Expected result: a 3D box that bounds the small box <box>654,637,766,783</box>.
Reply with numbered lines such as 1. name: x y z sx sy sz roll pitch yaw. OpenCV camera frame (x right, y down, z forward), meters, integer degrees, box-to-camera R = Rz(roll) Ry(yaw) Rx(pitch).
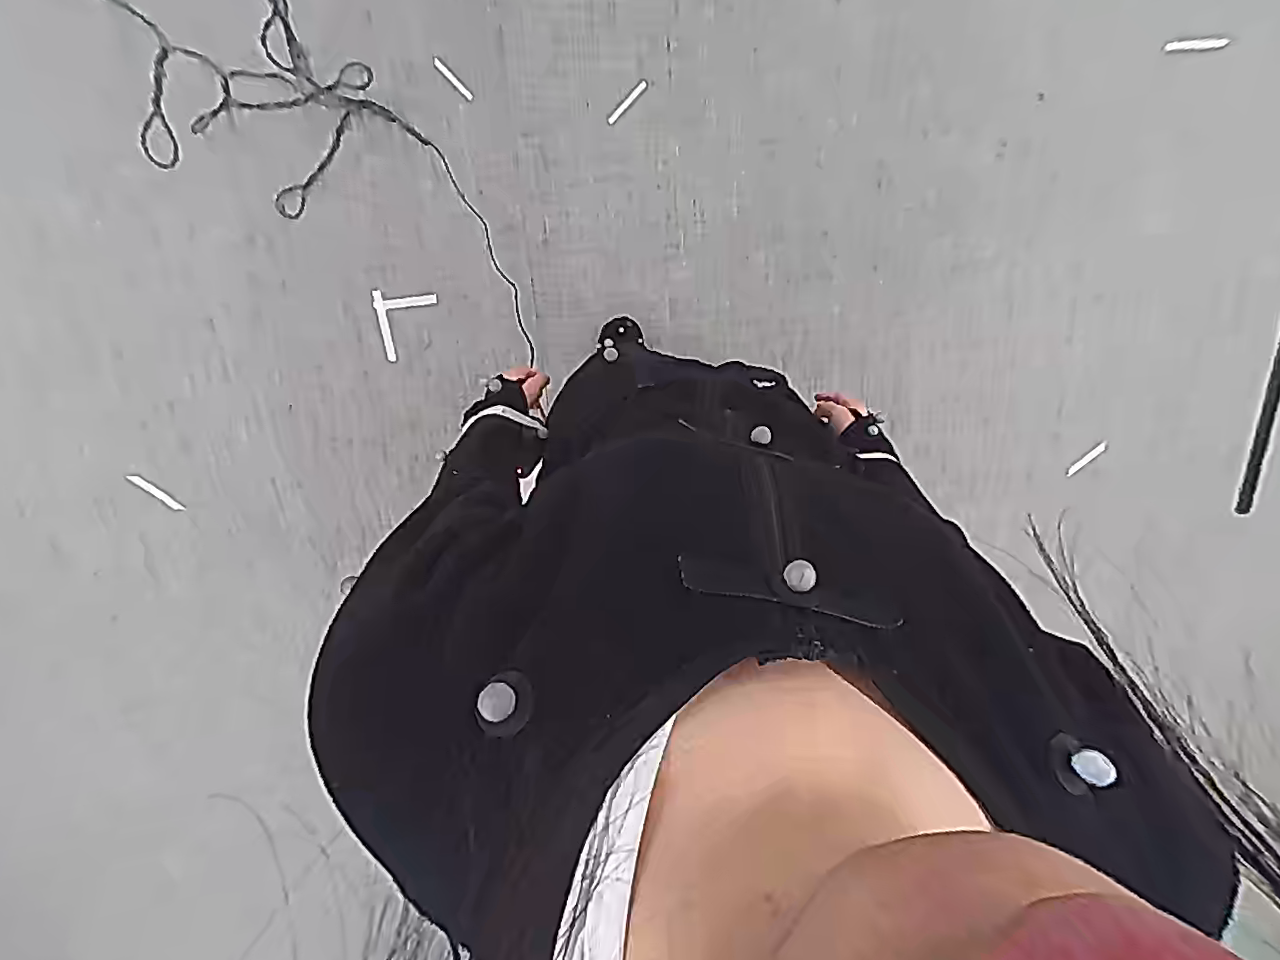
1. small box: 0.112 0.385 0.935 0.168 0.176 0.179 -1 107 -2
